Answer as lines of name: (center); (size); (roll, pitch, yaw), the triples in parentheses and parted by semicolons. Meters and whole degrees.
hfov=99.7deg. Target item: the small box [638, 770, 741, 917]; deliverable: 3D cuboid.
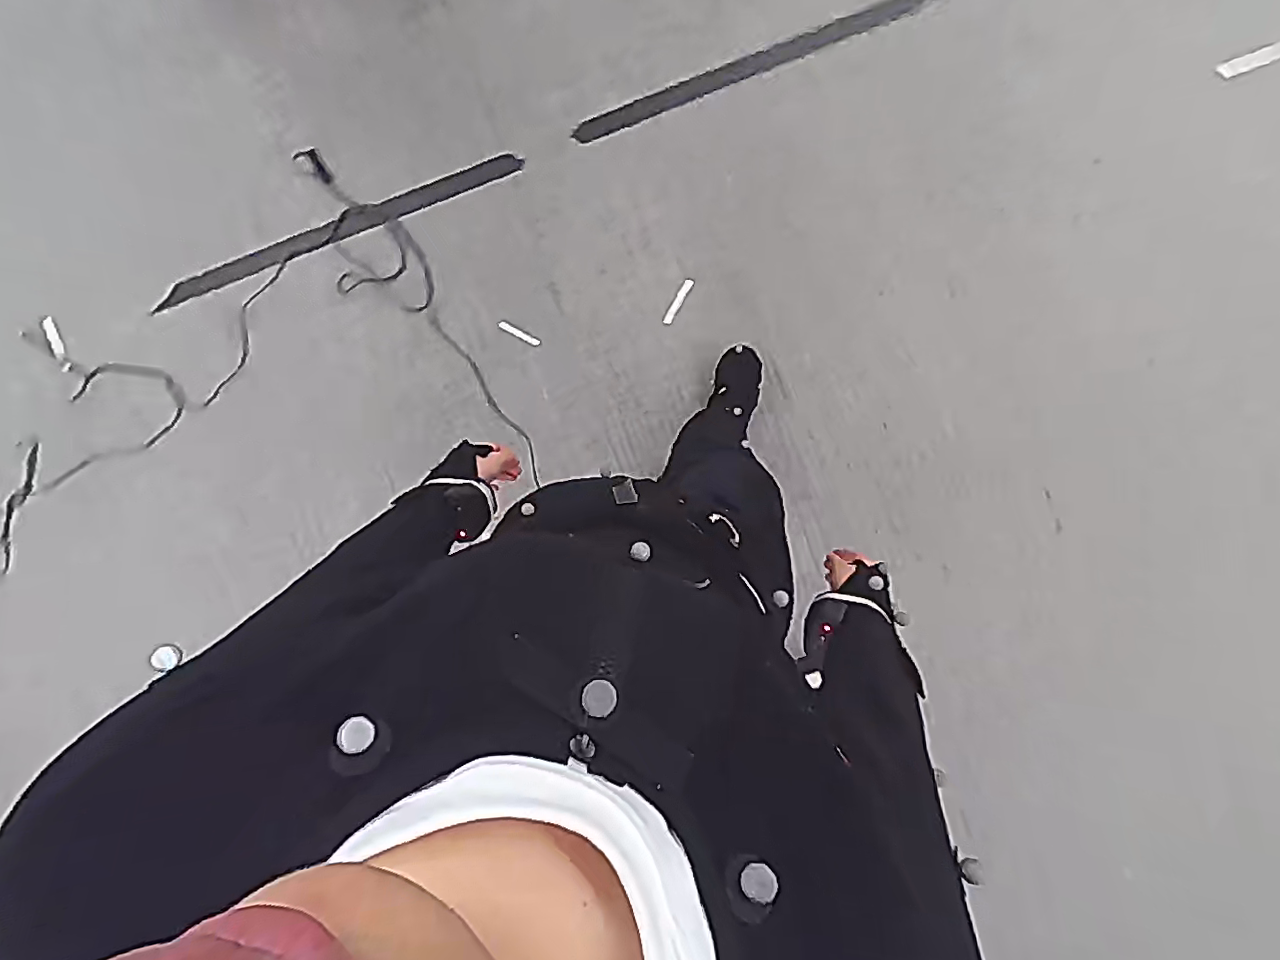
small box: (0.103, 0.752, 1.134); (0.168, 0.176, 0.179); (-17, 93, 4)

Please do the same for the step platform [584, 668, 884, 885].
step platform: (0.212, 0.705, 1.299); (0.684, 0.204, 0.286); (-19, 94, 4)
